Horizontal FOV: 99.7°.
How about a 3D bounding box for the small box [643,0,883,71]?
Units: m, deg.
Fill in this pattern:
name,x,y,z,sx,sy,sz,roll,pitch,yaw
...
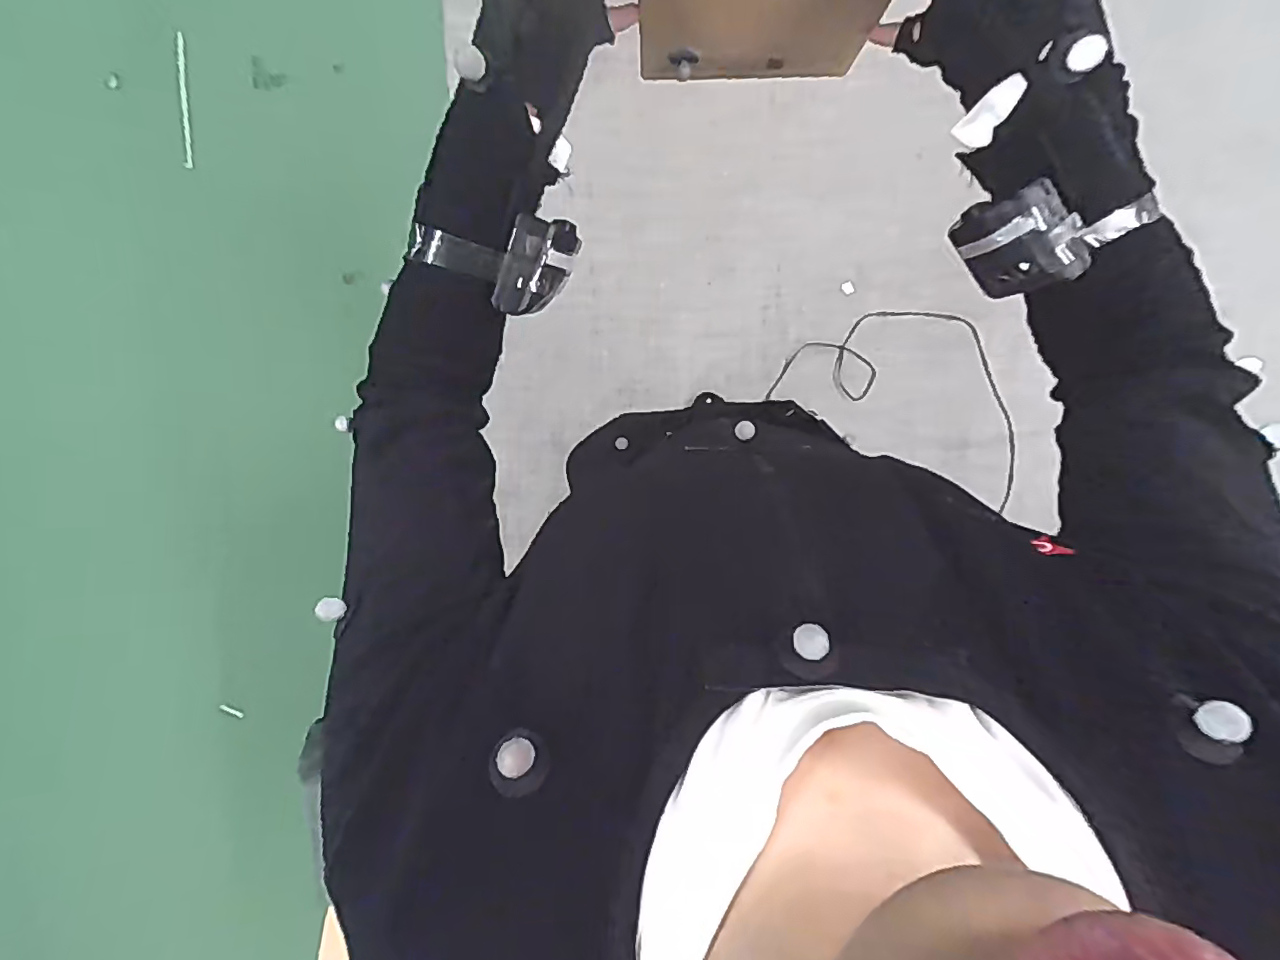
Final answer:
name,x,y,z,sx,sy,sz,roll,pitch,yaw
small box,0.083,-0.393,0.339,0.168,0.176,0.179,0,99,2
